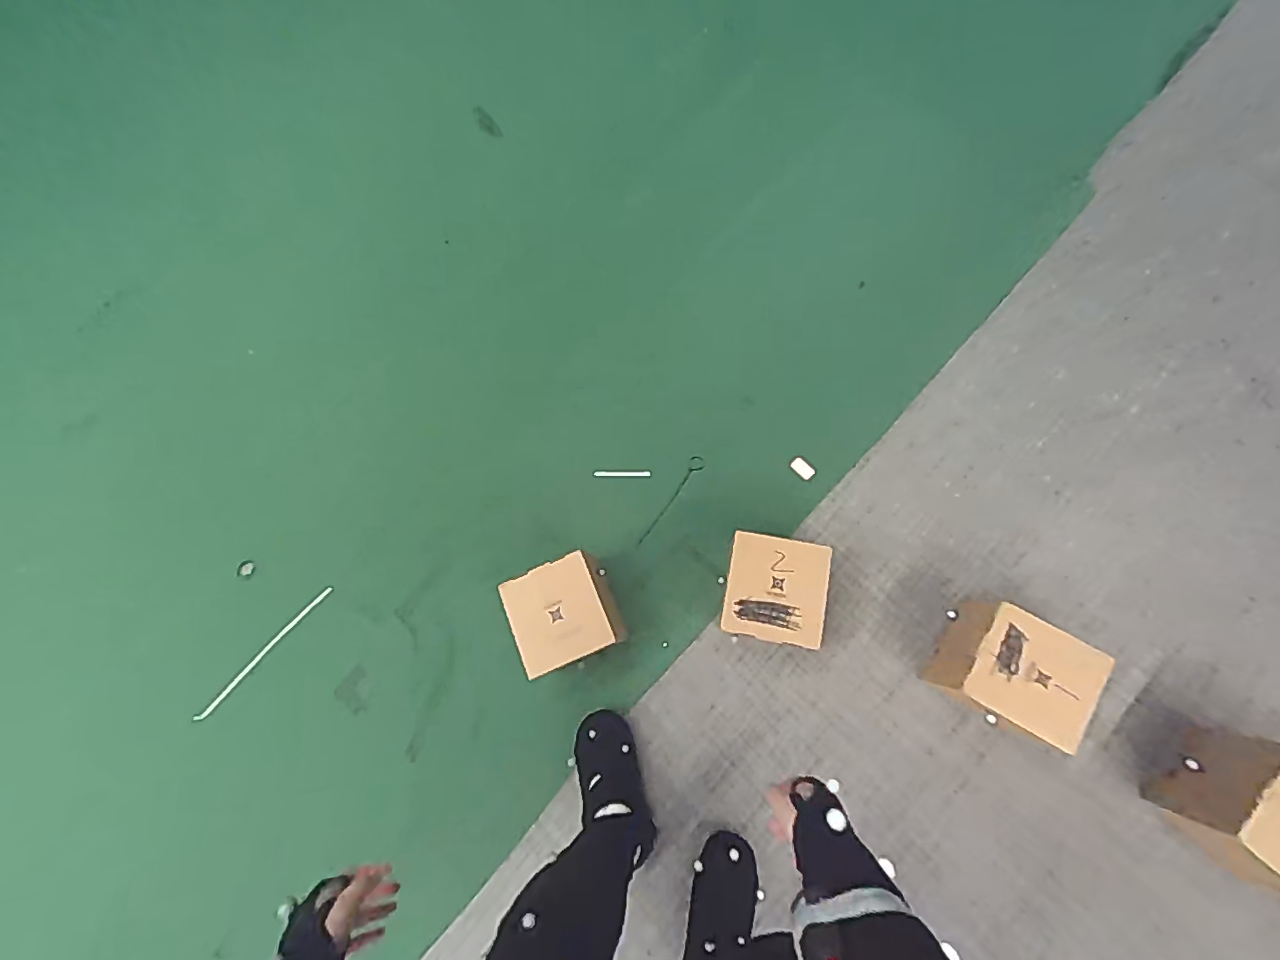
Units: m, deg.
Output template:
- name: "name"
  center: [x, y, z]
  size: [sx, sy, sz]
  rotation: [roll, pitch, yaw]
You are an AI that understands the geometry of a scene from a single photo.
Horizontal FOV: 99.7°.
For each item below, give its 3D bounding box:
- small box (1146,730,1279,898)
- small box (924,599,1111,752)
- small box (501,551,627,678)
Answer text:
- name: "small box"
  center: [0.955, 0.513, 0.823]
  size: [0.179, 0.176, 0.168]
  rotation: [42, 83, 15]
- name: "small box"
  center: [0.619, 0.320, 0.913]
  size: [0.179, 0.176, 0.168]
  rotation: [29, 81, 12]
- name: "small box"
  center: [-0.137, 0.255, 1.024]
  size: [0.168, 0.176, 0.179]
  rotation: [-24, 74, 1]
